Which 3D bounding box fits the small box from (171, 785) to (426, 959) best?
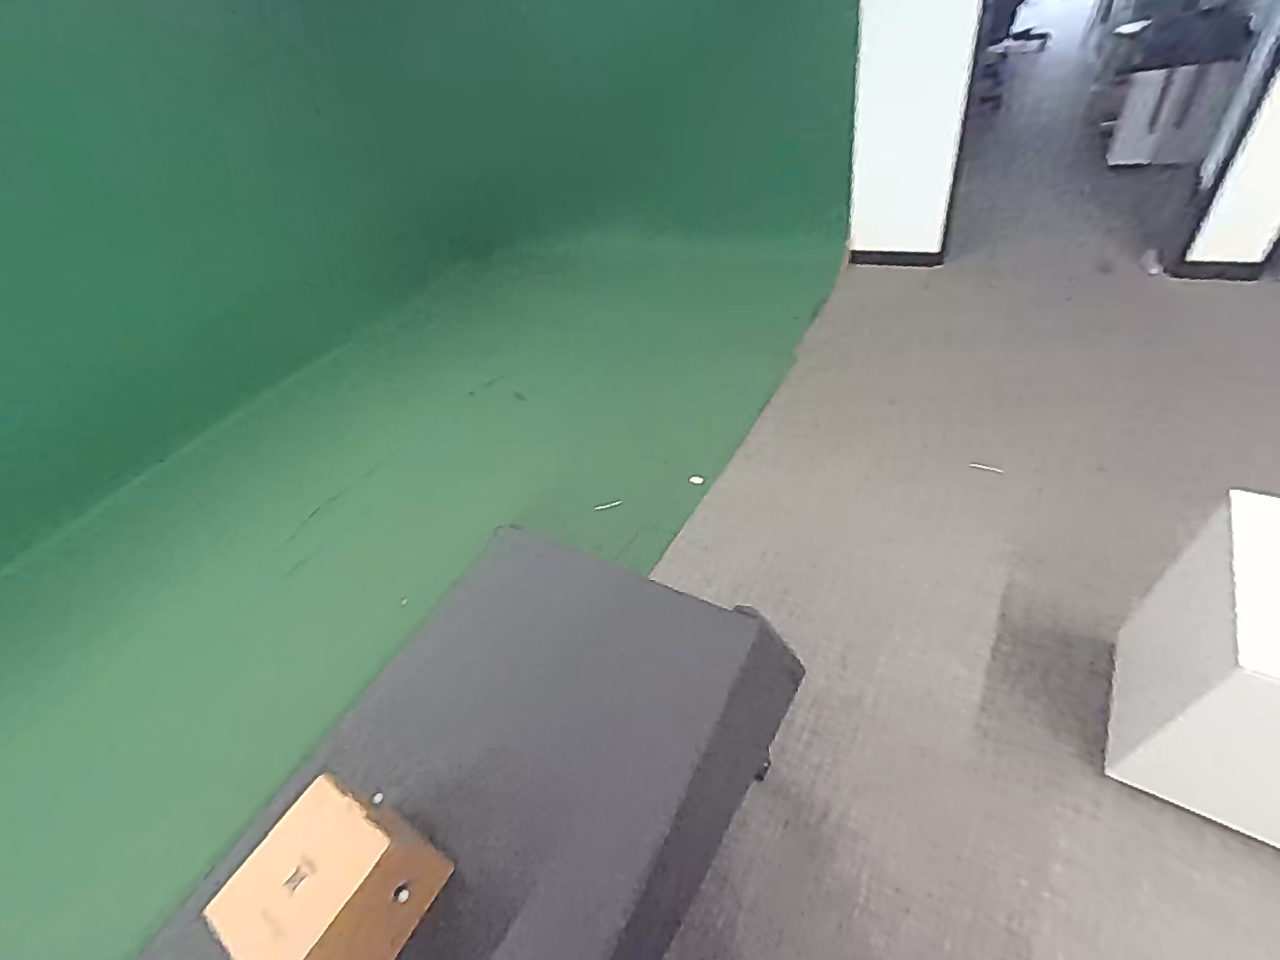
[{"bbox_3d":[-0.391,0.519,0.657,0.168,0.176,0.179,15,52,29],"label":"small box"}]
